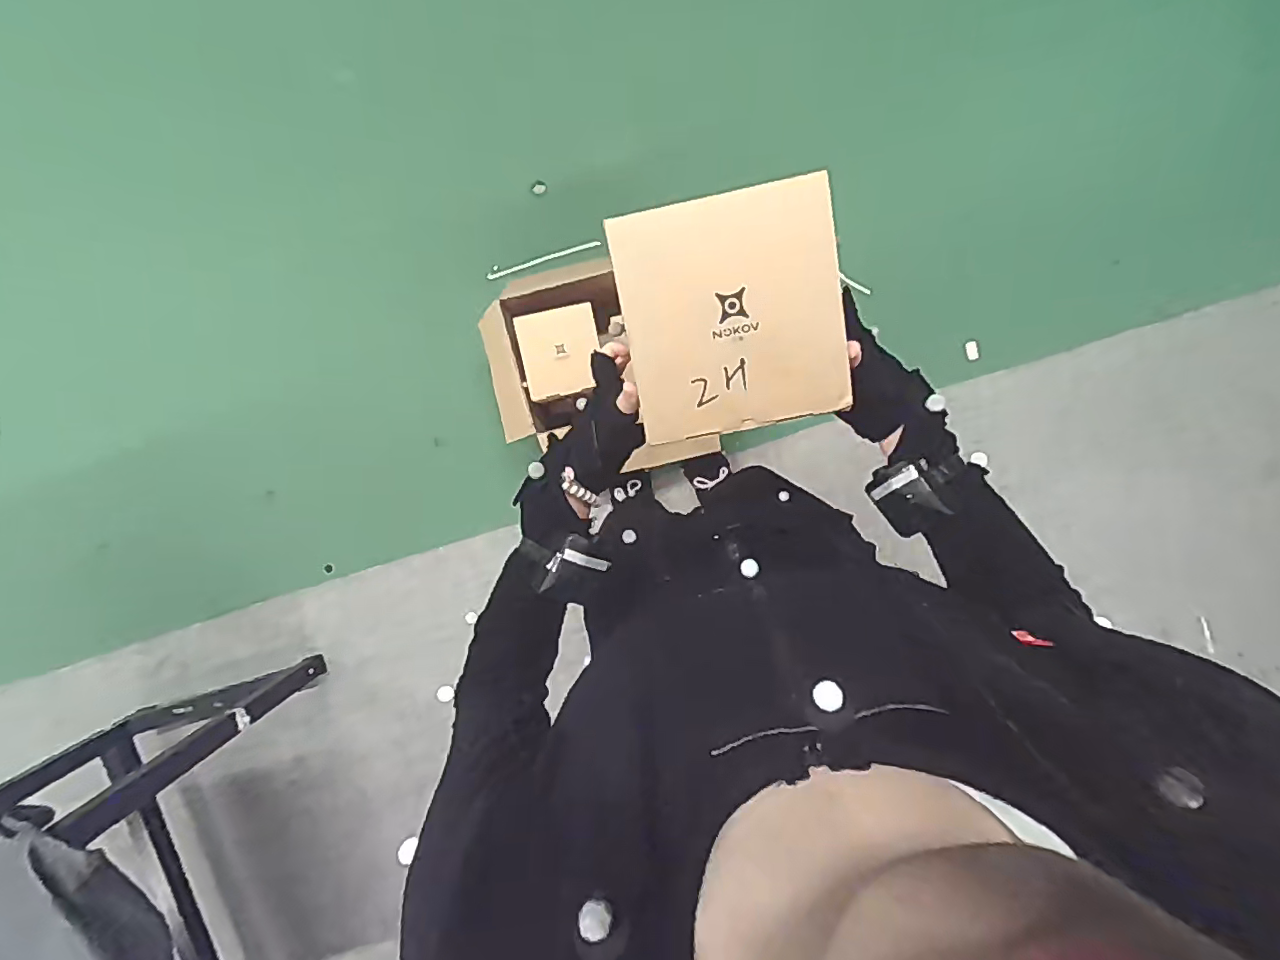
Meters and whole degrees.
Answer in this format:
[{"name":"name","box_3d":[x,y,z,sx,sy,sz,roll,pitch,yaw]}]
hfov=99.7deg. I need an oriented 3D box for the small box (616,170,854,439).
[{"name":"small box","box_3d":[0.076,-0.146,0.487,0.168,0.176,0.179,-10,104,4]}]
